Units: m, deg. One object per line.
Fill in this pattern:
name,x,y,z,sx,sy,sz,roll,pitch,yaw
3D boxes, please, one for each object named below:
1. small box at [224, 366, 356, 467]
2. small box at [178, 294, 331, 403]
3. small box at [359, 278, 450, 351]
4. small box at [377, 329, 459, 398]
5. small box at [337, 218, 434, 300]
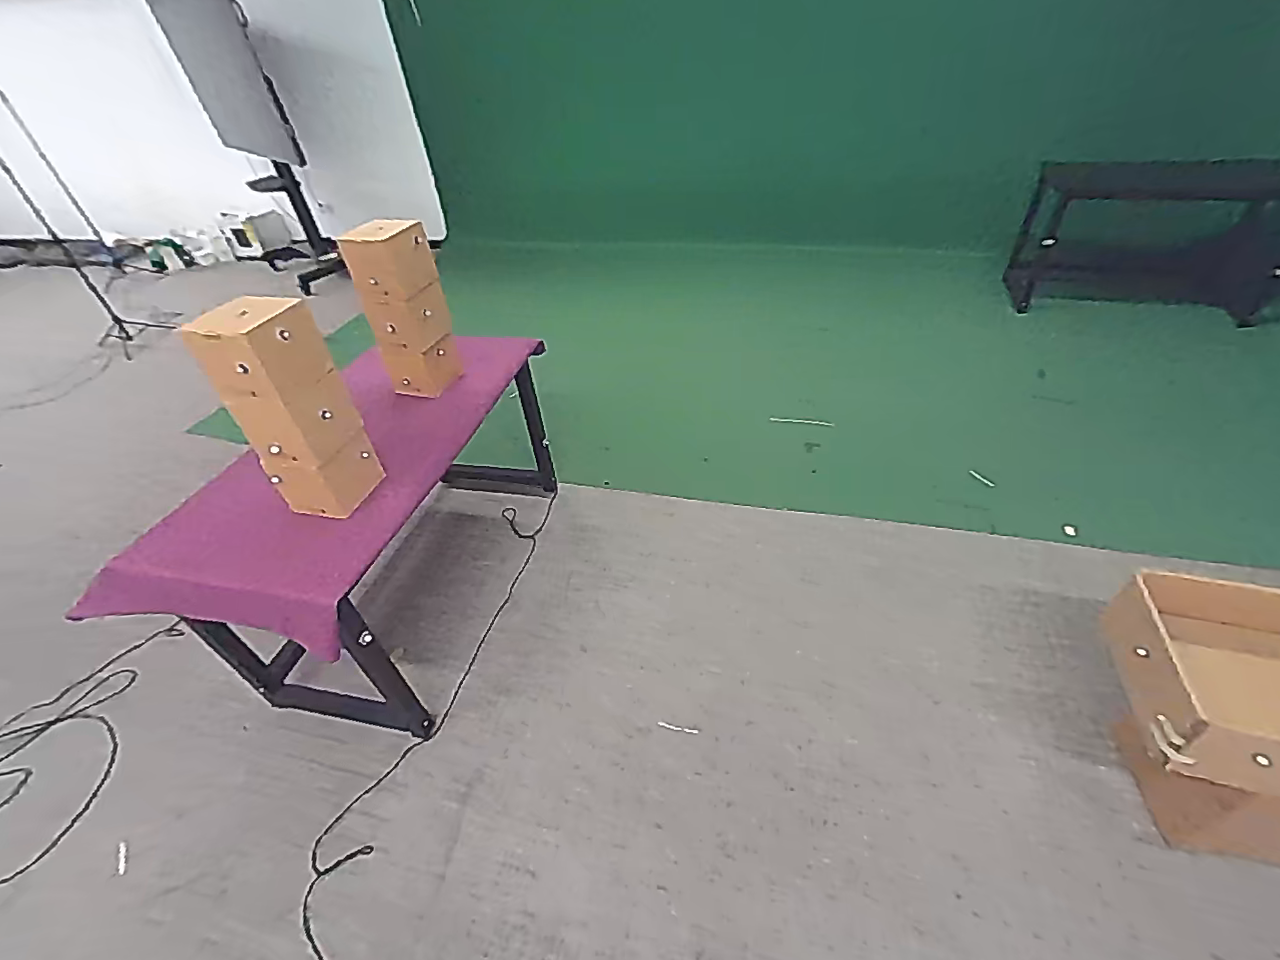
small box,-0.798,-0.155,1.261,0.168,0.176,0.179,6,42,12
small box,-0.809,-0.282,1.158,0.168,0.176,0.179,8,41,12
small box,-0.718,-0.515,1.672,0.168,0.176,0.179,11,45,15
small box,-0.720,-0.394,1.783,0.168,0.176,0.179,10,44,15
small box,-0.722,-0.642,1.565,0.168,0.176,0.179,9,44,16
